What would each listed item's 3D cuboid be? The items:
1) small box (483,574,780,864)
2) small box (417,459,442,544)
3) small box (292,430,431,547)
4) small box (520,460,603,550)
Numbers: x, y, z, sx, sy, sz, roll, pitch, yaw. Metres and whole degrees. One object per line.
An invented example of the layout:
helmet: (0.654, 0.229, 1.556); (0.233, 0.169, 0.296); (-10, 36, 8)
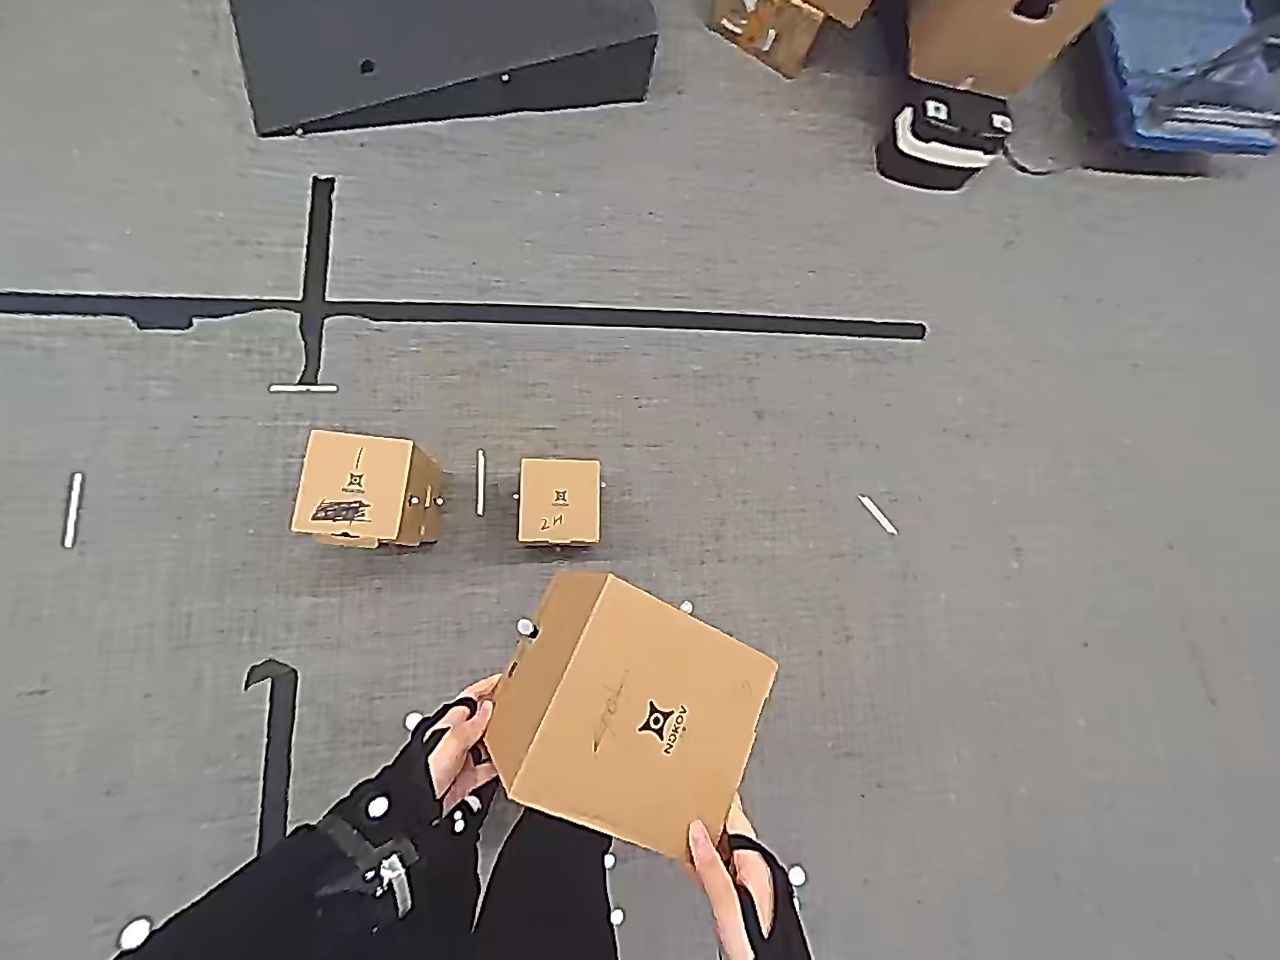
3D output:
small box: (-0.016, 0.190, 0.480); (0.179, 0.176, 0.168); (31, 71, -17)
small box: (-0.518, 0.046, 1.129); (0.179, 0.176, 0.168); (3, 80, -11)
small box: (-0.484, 0.025, 0.969); (0.168, 0.176, 0.179); (7, 78, -10)
small box: (-0.175, 0.061, 1.190); (0.168, 0.176, 0.179); (2, 80, -10)
